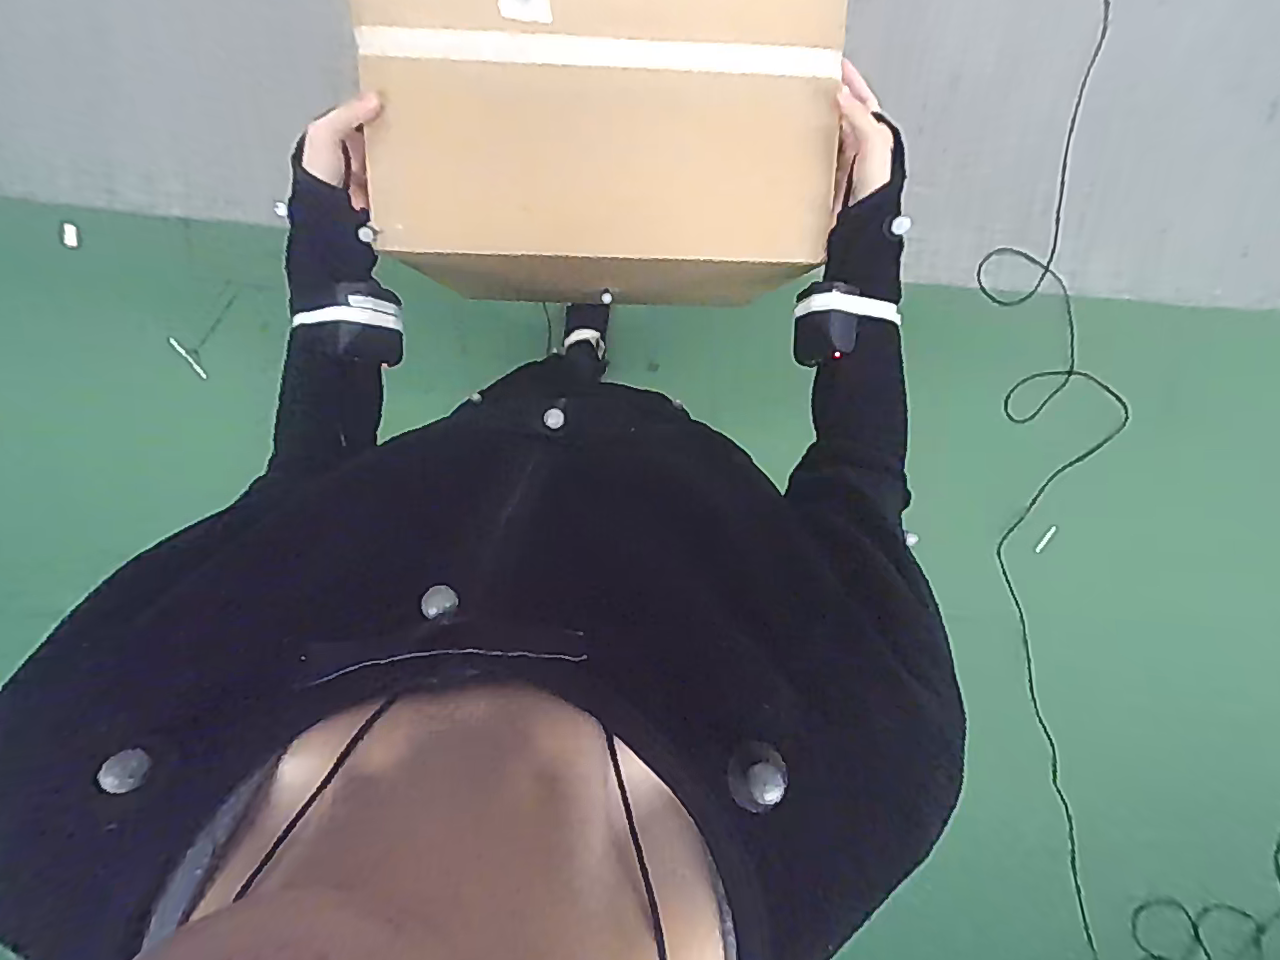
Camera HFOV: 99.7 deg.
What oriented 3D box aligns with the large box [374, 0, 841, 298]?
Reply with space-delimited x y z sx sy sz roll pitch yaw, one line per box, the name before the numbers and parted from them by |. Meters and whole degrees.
large box | -0.030 -0.384 0.612 0.408 0.320 0.320 0 100 -3
